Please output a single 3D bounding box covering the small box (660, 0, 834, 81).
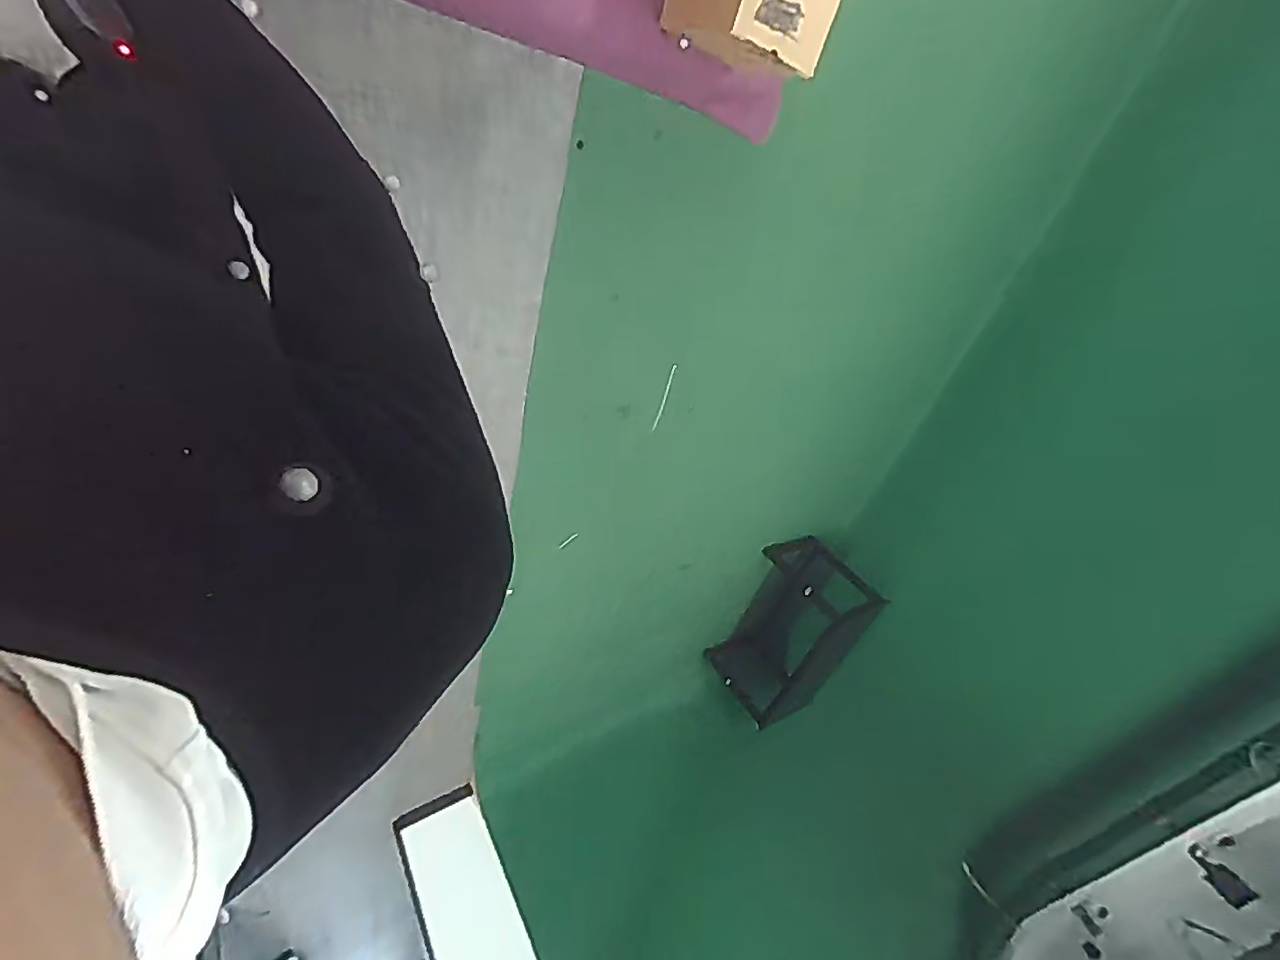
[{"bbox_3d":[0.151,-0.683,0.736,0.168,0.176,0.179,-6,128,-38],"label":"small box"}]
